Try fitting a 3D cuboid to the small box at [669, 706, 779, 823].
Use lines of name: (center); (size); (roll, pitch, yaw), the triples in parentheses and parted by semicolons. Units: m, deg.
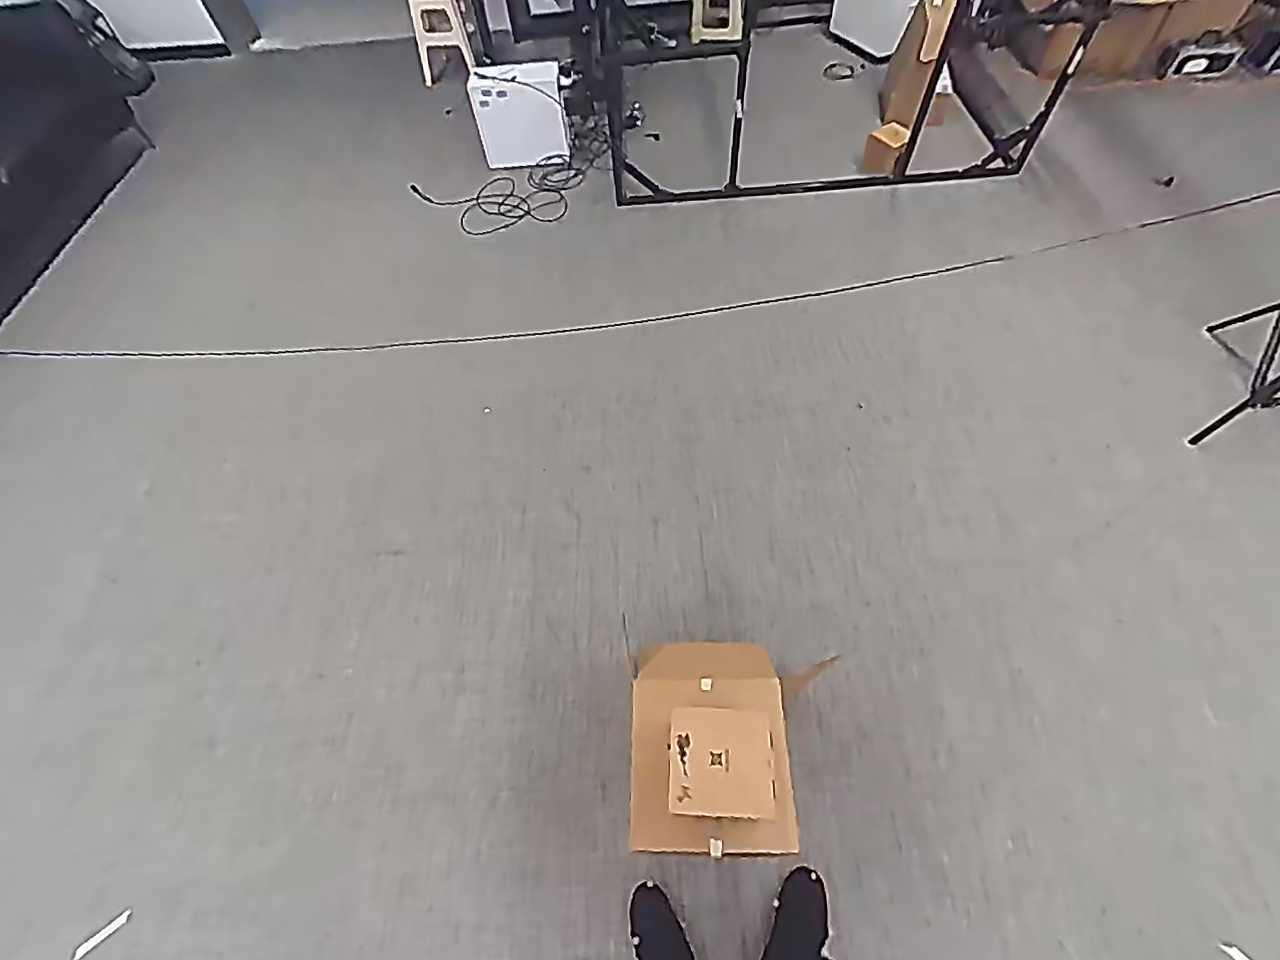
small box: (0.145, 0.513, 0.978); (0.179, 0.176, 0.168); (2, 59, 4)
